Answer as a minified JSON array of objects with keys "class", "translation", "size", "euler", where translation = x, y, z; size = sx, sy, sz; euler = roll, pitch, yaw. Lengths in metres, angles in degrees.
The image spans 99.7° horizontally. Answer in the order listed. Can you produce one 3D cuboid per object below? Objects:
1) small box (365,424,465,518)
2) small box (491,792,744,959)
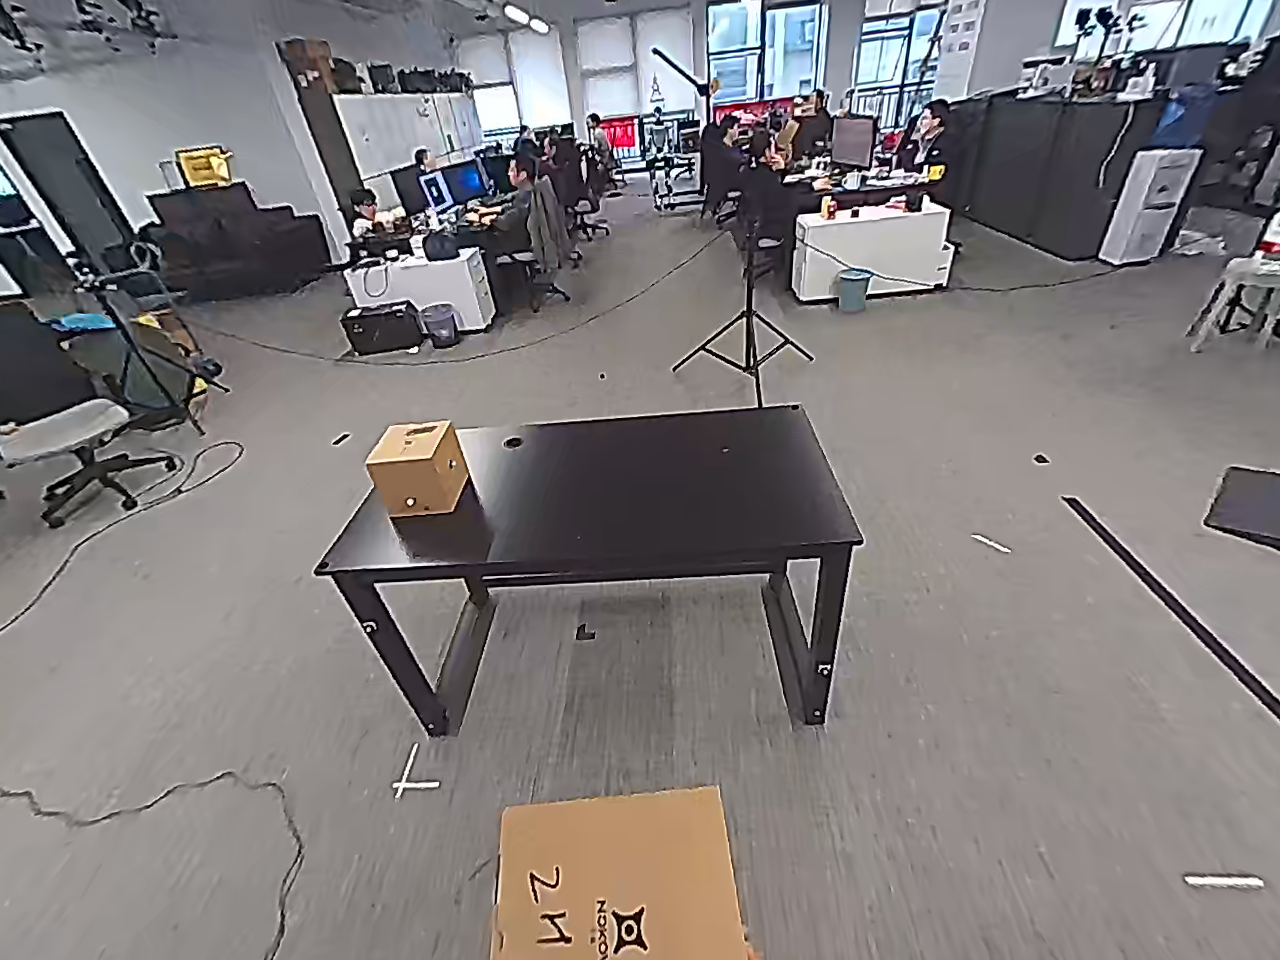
[{"class":"small box","translation":[-0.560,-0.023,1.375],"size":[0.168,0.176,0.179],"euler":[-5,36,3]},{"class":"small box","translation":[-0.015,0.371,0.439],"size":[0.179,0.176,0.168],"euler":[-5,47,-2]}]
